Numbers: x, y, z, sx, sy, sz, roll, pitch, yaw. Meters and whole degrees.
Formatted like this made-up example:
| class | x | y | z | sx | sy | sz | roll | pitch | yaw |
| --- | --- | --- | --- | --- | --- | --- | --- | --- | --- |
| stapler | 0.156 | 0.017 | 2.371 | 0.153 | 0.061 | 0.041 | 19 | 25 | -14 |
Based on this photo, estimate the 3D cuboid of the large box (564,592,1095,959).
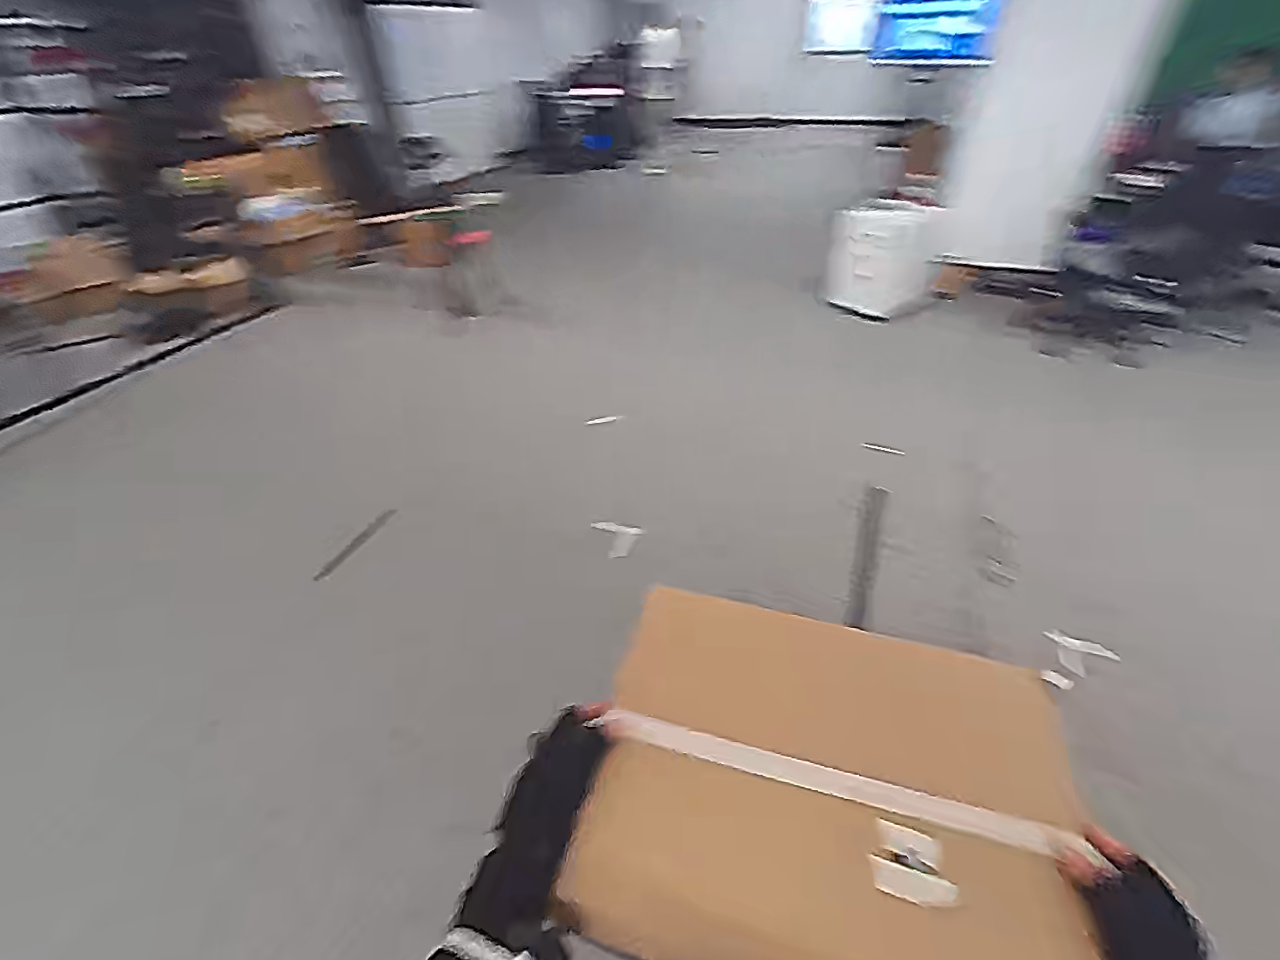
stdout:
| class | x | y | z | sx | sy | sz | roll | pitch | yaw |
| --- | --- | --- | --- | --- | --- | --- | --- | --- | --- |
| large box | 0.168 | 0.370 | 0.597 | 0.408 | 0.320 | 0.320 | 11 | 49 | 11 |
